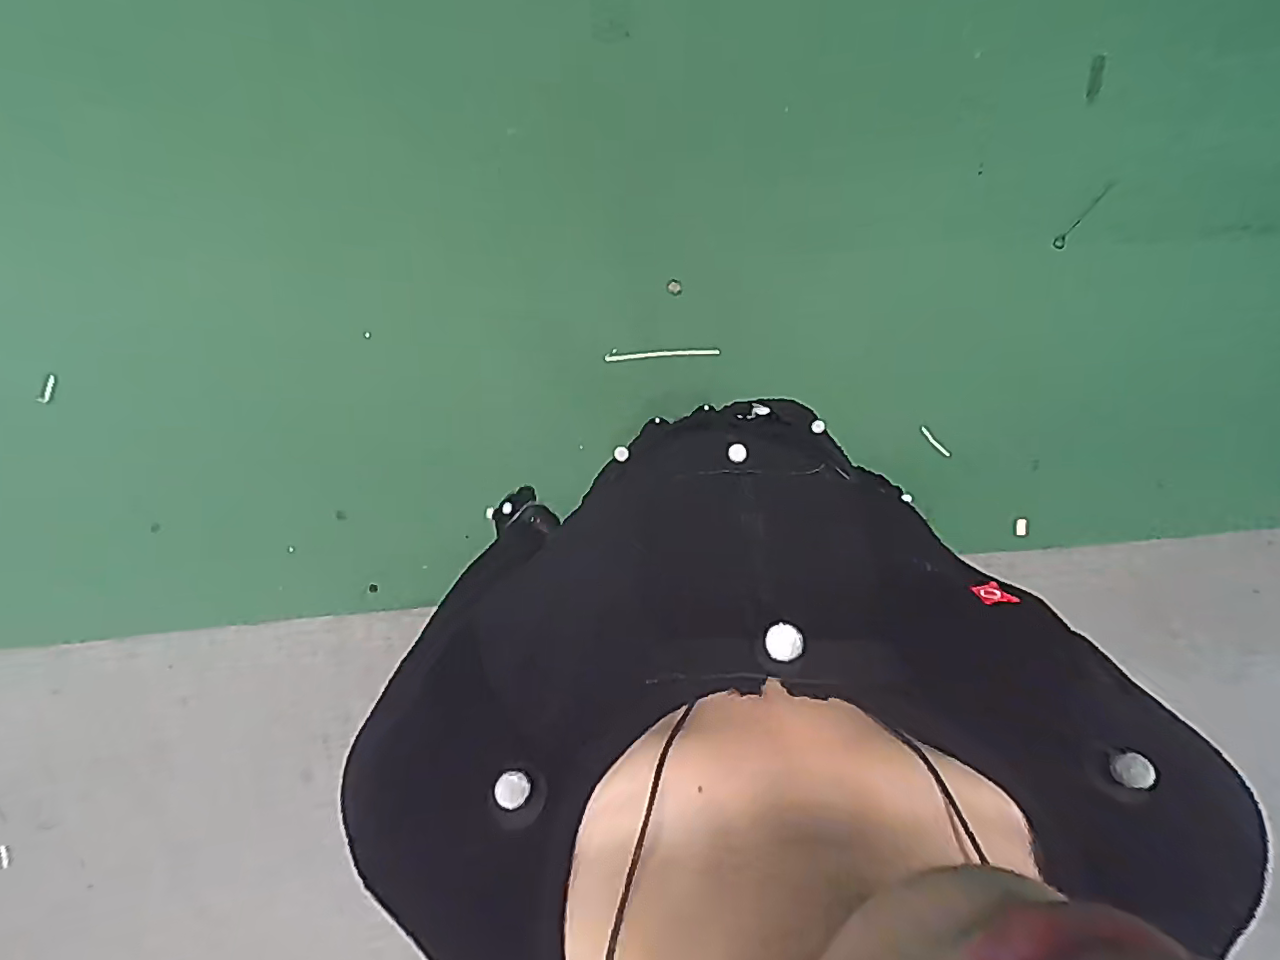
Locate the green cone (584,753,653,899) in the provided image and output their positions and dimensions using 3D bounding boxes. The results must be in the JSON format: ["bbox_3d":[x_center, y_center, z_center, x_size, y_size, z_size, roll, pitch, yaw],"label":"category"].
[{"bbox_3d":[-0.056,0.924,1.425,0.200,0.368,0.202,-3,97,-2],"label":"green cone"}]
